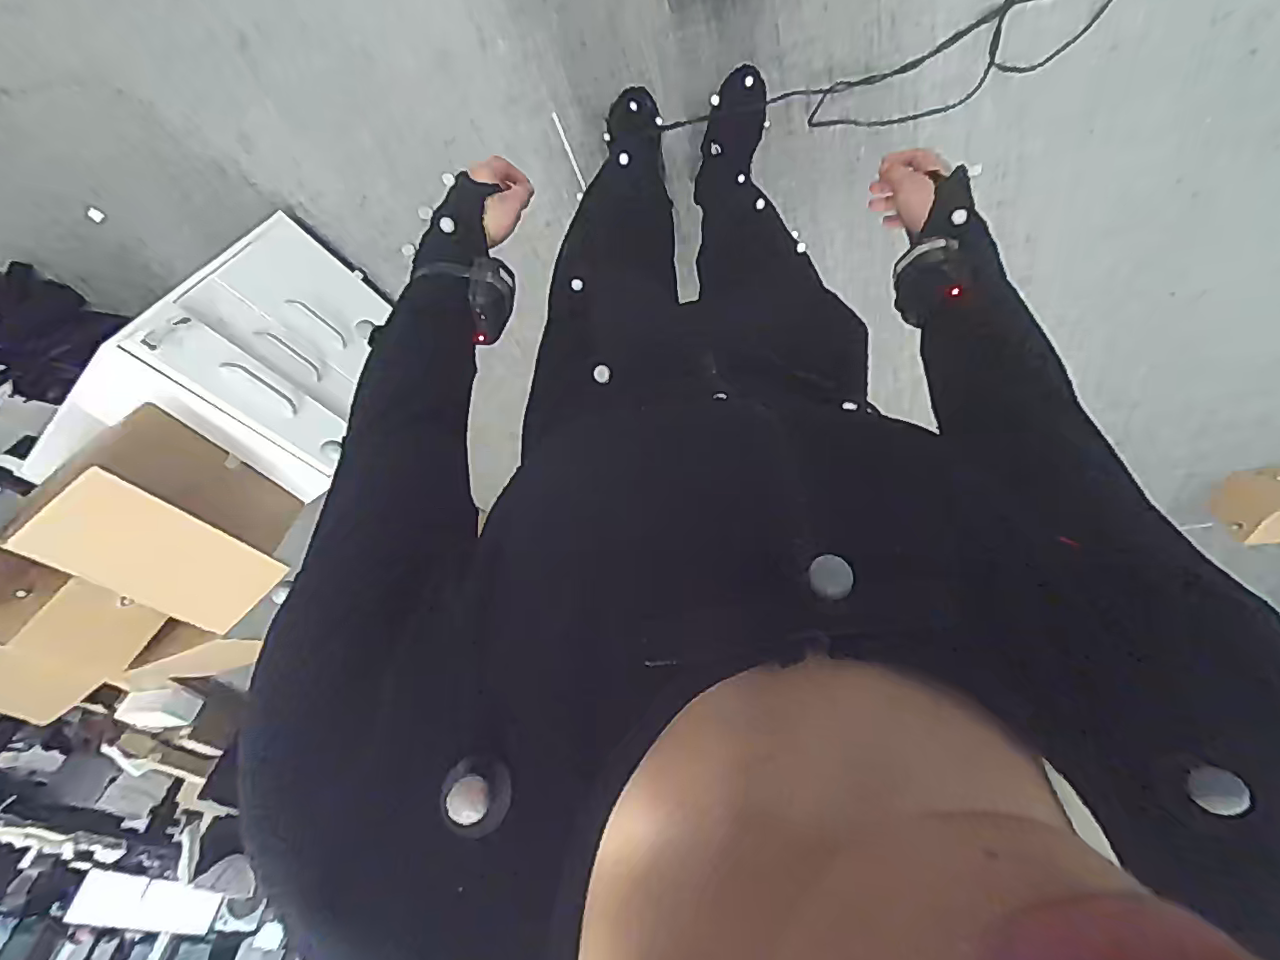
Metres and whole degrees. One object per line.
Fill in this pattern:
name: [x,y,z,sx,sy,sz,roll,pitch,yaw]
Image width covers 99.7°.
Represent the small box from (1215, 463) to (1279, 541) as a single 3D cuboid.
small box: [1.972,0.067,1.686,0.168,0.176,0.179,-7,136,12]
